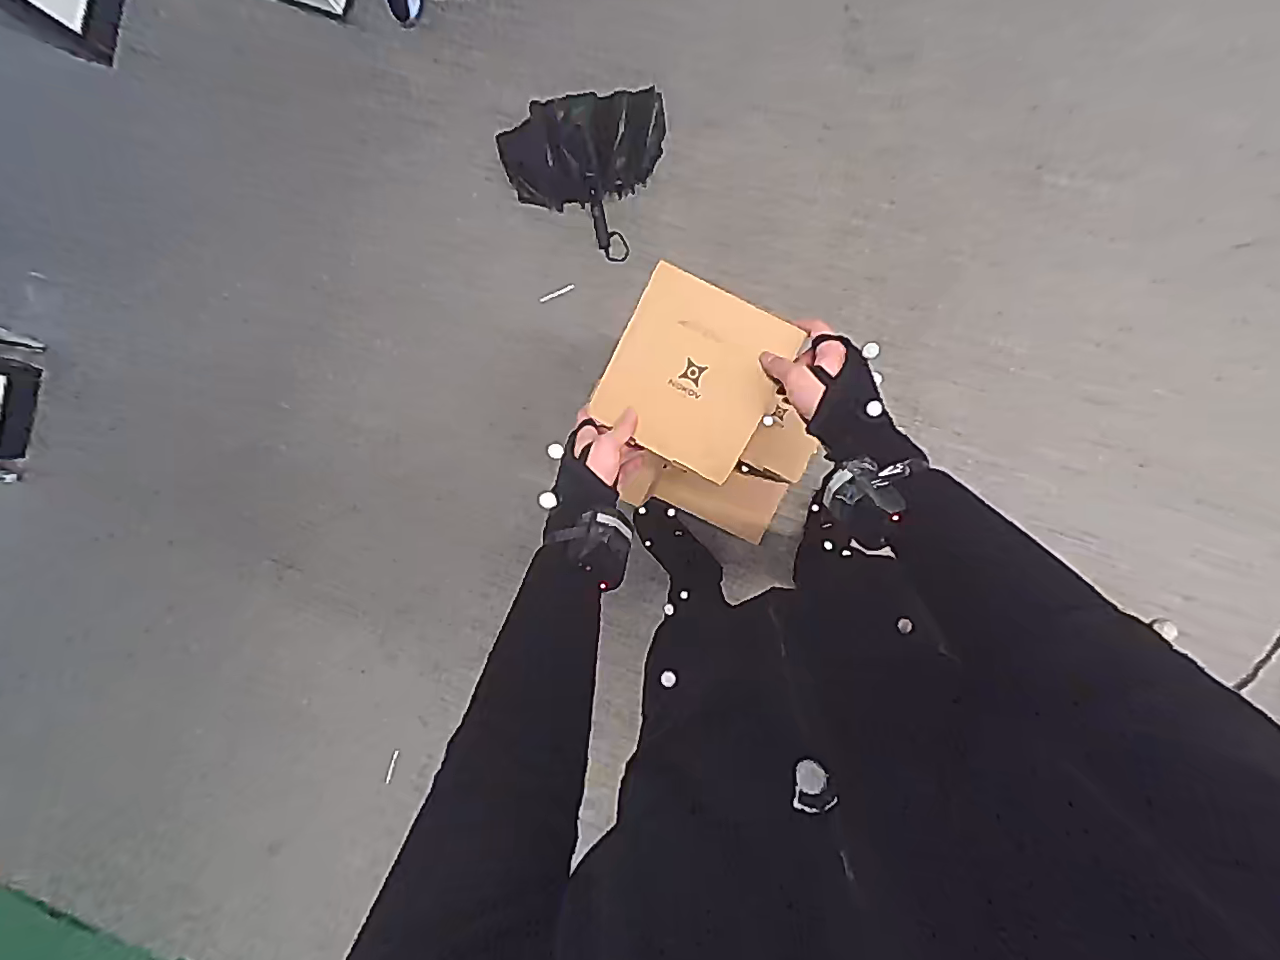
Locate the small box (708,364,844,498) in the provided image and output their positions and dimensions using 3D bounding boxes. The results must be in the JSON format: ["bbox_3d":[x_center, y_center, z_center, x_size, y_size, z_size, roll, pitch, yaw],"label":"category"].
[{"bbox_3d":[0.237,-0.082,0.975,0.168,0.176,0.179,27,93,7],"label":"small box"}]

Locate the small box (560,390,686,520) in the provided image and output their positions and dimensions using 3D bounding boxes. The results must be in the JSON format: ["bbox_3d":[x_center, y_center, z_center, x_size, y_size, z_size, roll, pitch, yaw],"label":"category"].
[{"bbox_3d":[-0.022,-0.048,1.009,0.168,0.176,0.179,28,97,6],"label":"small box"}]
